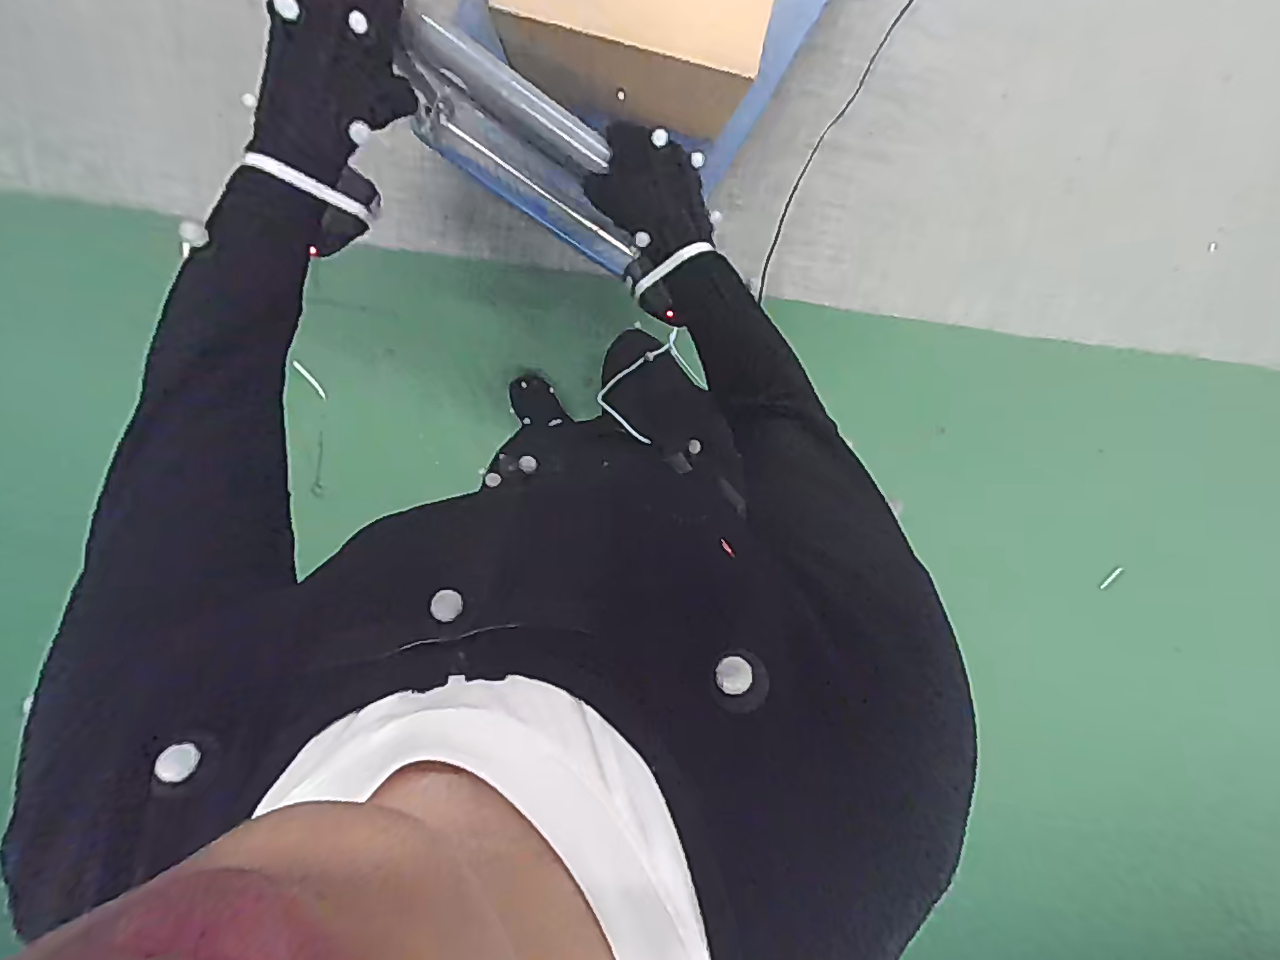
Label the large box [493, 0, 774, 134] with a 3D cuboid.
[{"bbox_3d":[0.005,-0.826,0.894,0.408,0.320,0.320,11,106,-7],"label":"large box"}]
